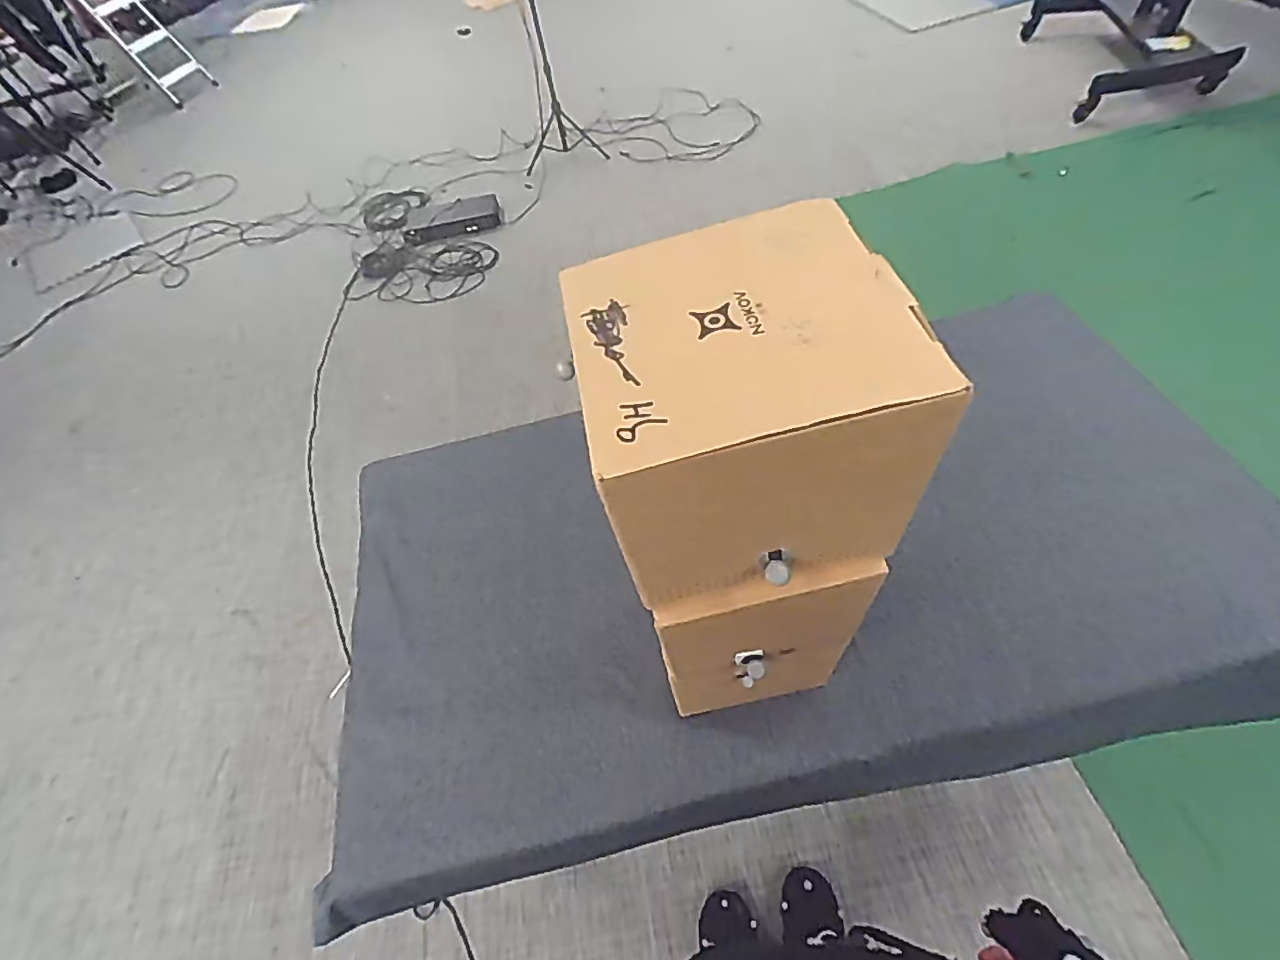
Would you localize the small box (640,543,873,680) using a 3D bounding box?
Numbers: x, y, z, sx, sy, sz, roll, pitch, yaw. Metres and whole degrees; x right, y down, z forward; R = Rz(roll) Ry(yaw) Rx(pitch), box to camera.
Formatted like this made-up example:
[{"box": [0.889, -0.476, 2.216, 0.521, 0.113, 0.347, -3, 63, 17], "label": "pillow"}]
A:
[{"box": [0.079, 0.057, 0.485, 0.168, 0.176, 0.179, -15, 56, 2], "label": "small box"}]

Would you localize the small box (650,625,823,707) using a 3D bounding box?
[{"box": [0.101, 0.146, 0.618, 0.179, 0.176, 0.168, -12, 55, 1], "label": "small box"}]

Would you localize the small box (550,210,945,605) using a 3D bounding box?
[{"box": [0.052, -0.037, 0.353, 0.179, 0.176, 0.168, -13, 55, 2], "label": "small box"}]
